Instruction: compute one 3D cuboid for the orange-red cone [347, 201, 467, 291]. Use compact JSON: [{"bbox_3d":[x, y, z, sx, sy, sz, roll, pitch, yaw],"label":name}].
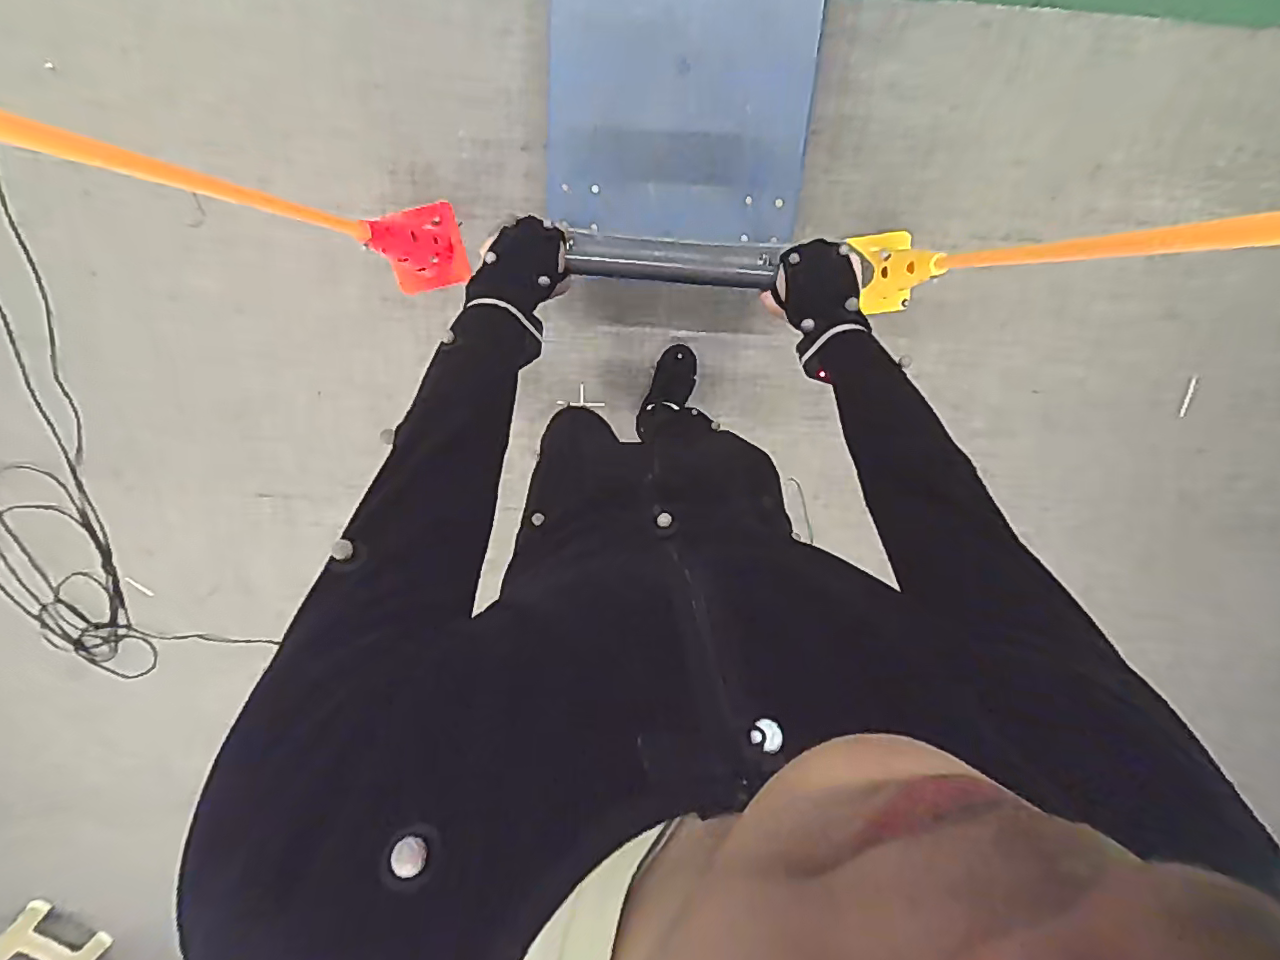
[{"bbox_3d":[-0.568,-0.557,1.248,0.199,0.360,0.198,-11,107,5],"label":"orange-red cone"}]
